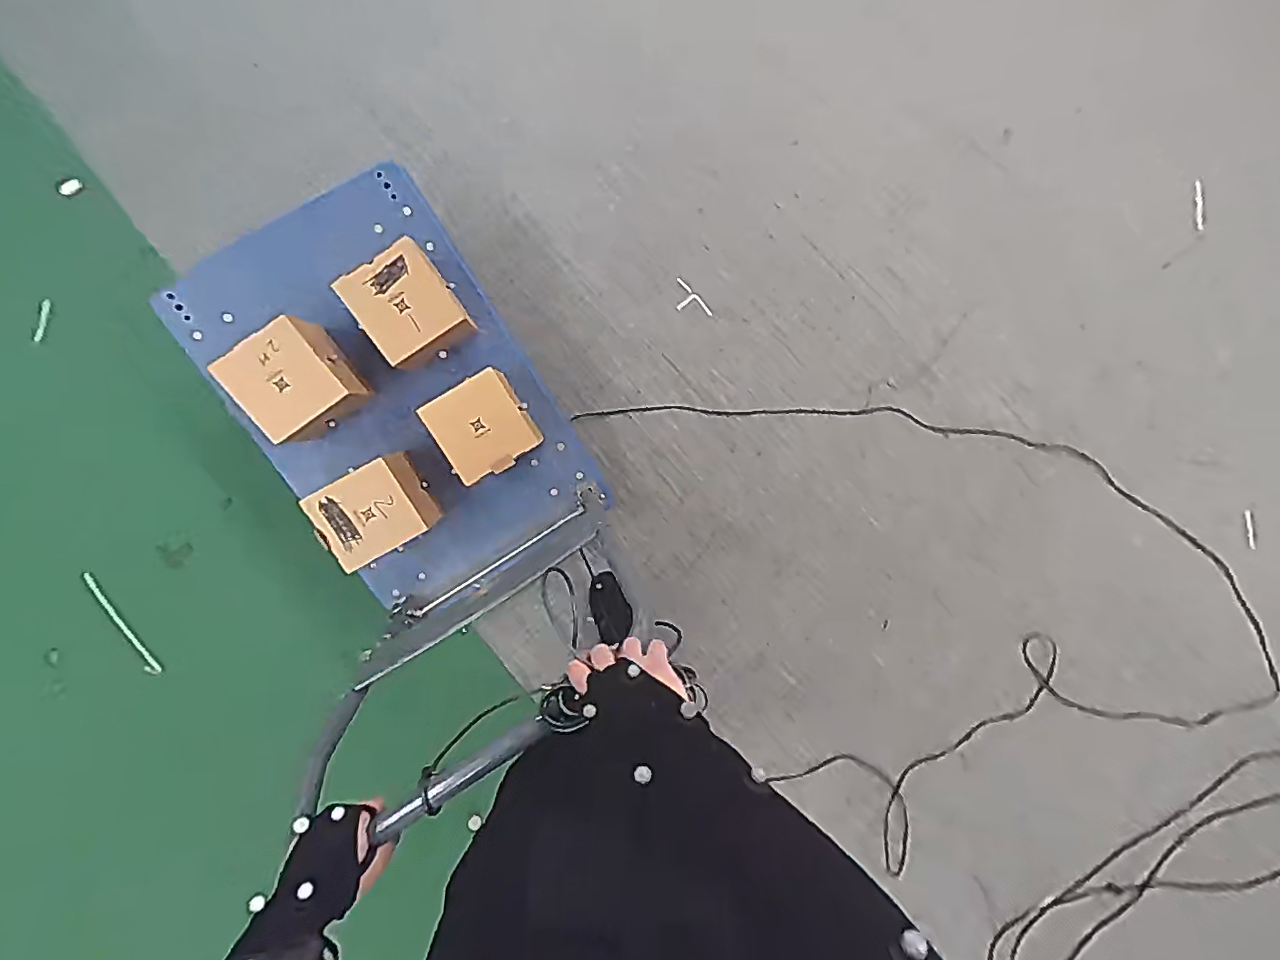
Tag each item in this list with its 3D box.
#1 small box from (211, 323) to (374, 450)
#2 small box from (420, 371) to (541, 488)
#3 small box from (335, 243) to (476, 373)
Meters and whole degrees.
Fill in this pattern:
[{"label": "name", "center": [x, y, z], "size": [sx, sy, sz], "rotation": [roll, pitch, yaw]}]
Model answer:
[{"label": "small box", "center": [-0.660, -0.179, 1.057], "size": [0.168, 0.176, 0.179], "rotation": [-37, 100, -4]}, {"label": "small box", "center": [-0.320, -0.104, 1.118], "size": [0.168, 0.176, 0.179], "rotation": [-32, 101, -4]}, {"label": "small box", "center": [-0.450, -0.327, 1.070], "size": [0.168, 0.176, 0.179], "rotation": [-35, 101, -2]}]
